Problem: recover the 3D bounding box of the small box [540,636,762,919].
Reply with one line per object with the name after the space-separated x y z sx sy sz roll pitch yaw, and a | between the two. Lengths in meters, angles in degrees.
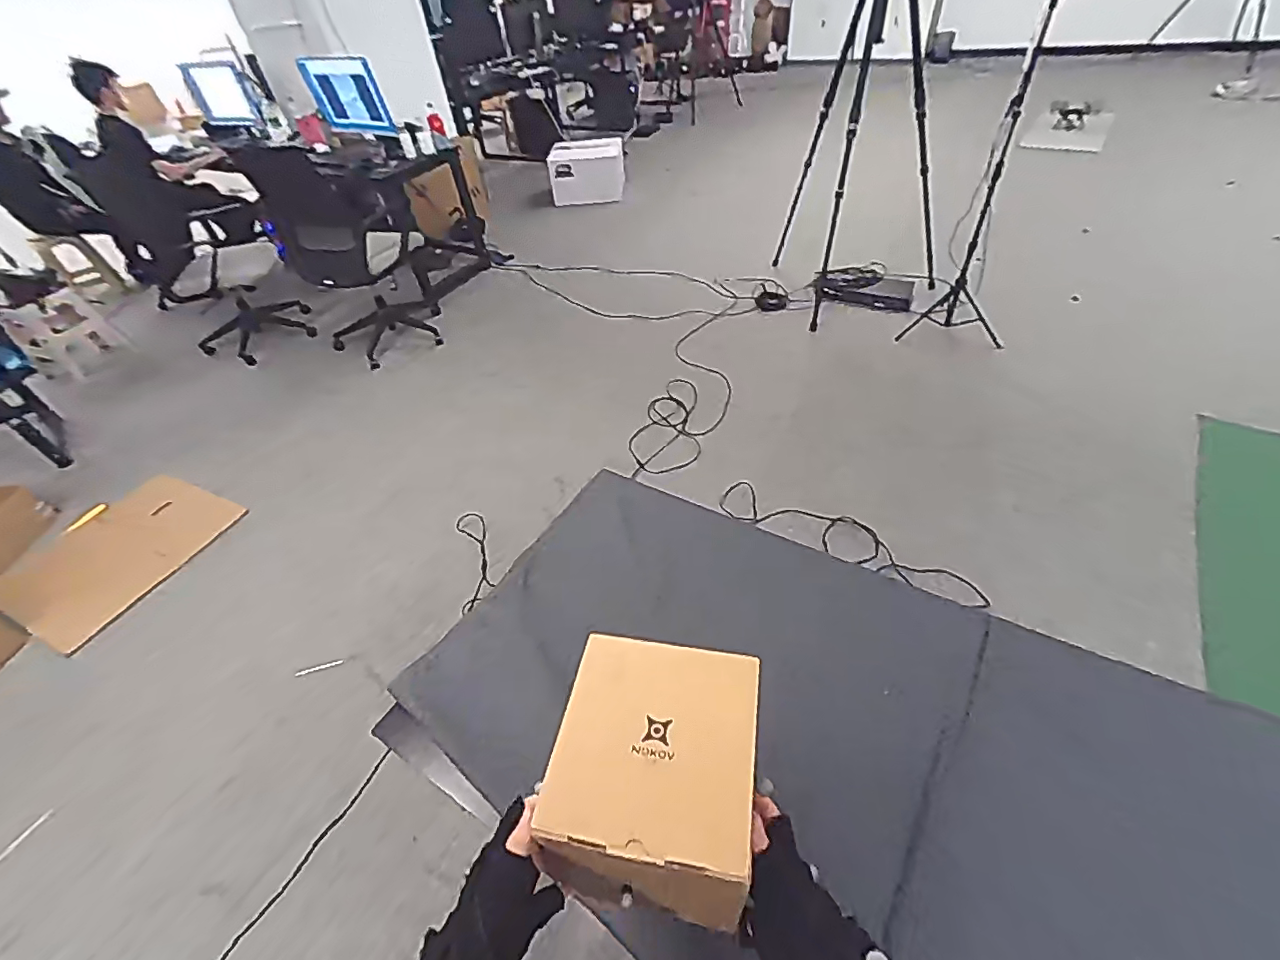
0.021 0.281 0.519 0.168 0.176 0.179 6 44 11 | small box
